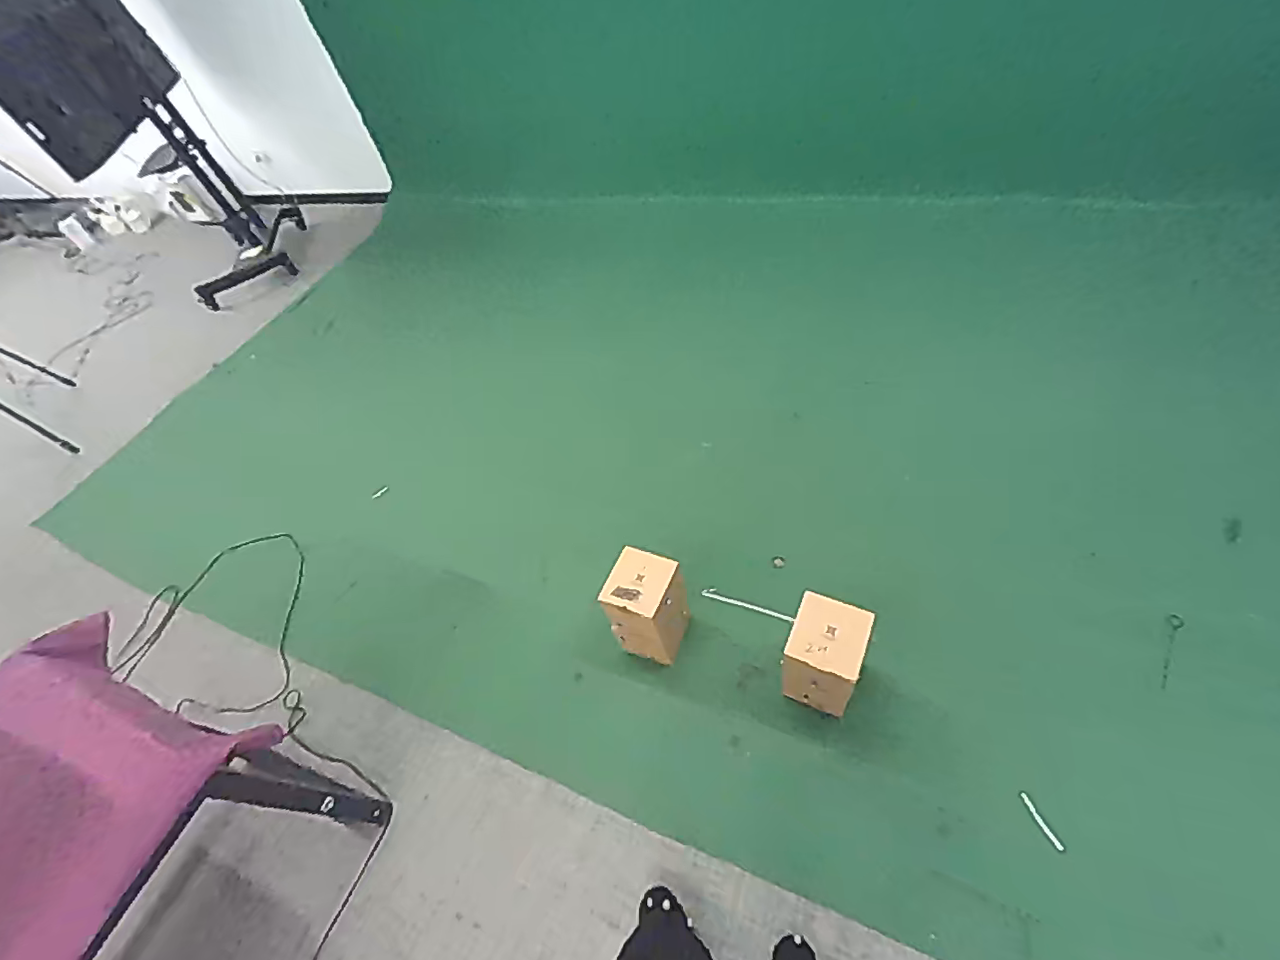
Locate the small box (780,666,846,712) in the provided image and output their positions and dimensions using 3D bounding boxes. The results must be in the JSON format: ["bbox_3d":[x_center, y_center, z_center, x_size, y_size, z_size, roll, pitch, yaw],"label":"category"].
[{"bbox_3d":[0.479,0.494,1.453,0.168,0.176,0.179,16,60,23],"label":"small box"}]

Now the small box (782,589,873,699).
[{"bbox_3d":[0.450,0.402,1.319,0.168,0.176,0.179,18,60,24],"label":"small box"}]

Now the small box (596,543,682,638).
[{"bbox_3d":[0.006,0.310,1.495,0.168,0.176,0.179,15,57,24],"label":"small box"}]
